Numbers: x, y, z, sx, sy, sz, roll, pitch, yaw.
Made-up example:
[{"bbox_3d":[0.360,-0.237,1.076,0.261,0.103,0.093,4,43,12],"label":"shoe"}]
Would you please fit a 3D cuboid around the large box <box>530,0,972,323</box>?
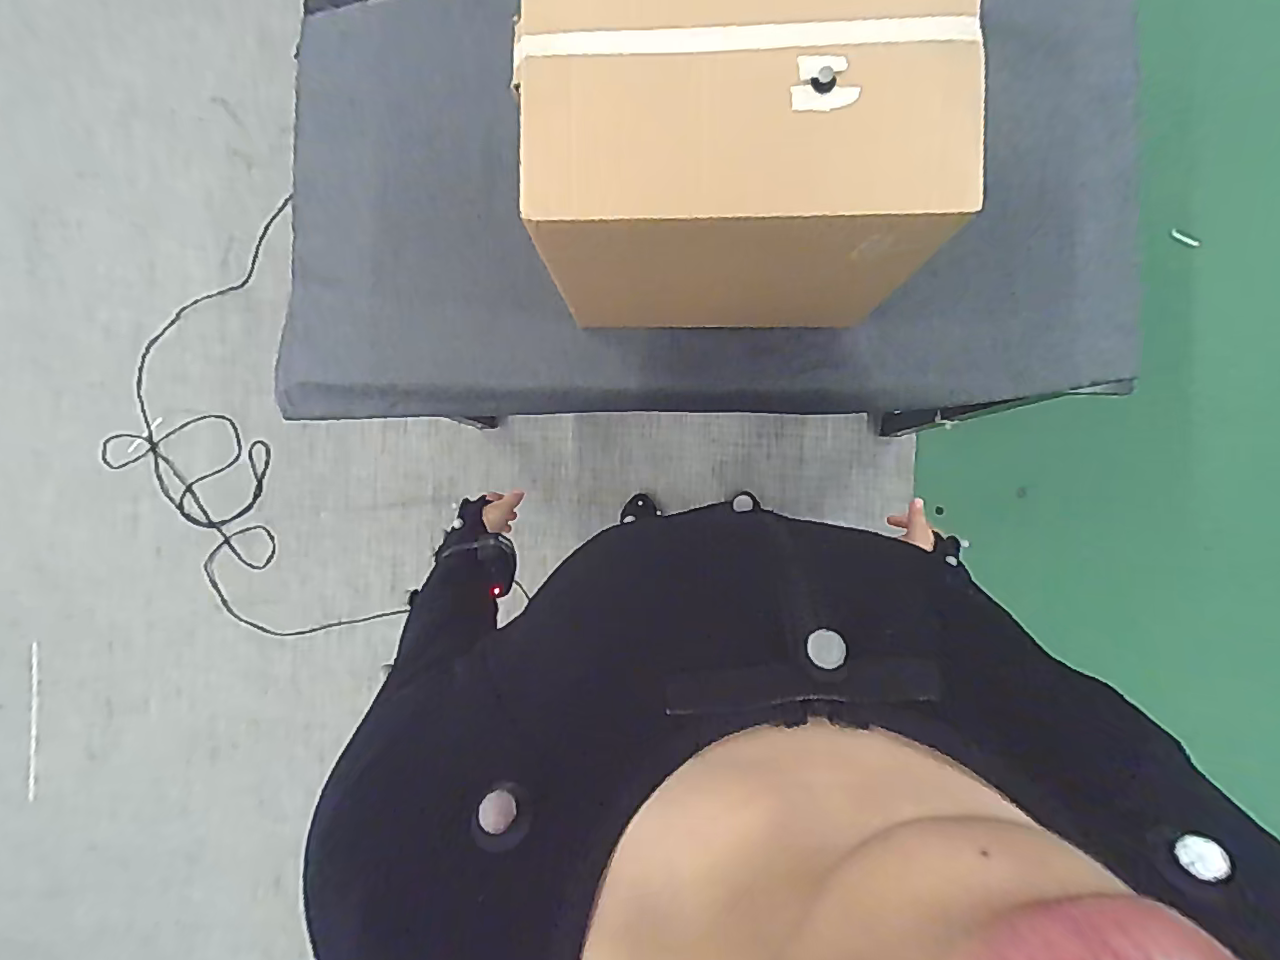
[{"bbox_3d":[0.101,-0.390,0.643,0.408,0.320,0.320,0,89,3],"label":"large box"}]
